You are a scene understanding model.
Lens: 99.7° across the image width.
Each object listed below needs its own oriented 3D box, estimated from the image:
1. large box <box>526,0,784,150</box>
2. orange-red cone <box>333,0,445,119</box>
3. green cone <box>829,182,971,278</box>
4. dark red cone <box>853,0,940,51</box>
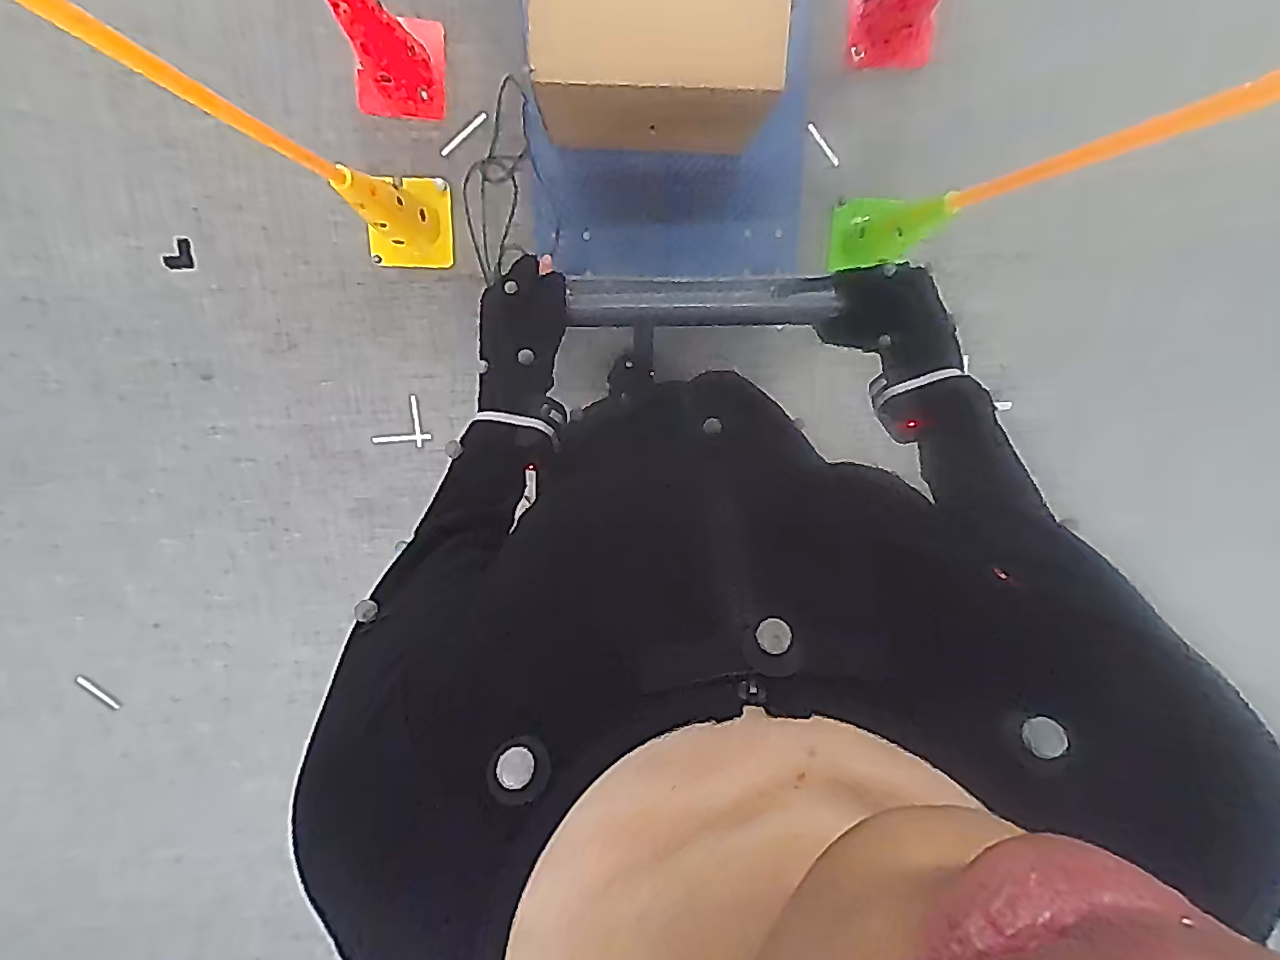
[{"bbox_3d":[0.022,-0.807,0.964,0.408,0.320,0.320,0,104,-1],"label":"large box"},{"bbox_3d":[-0.538,-0.909,1.069,0.198,0.360,0.199,4,102,-4],"label":"orange-red cone"},{"bbox_3d":[0.586,-0.573,1.183,0.202,0.368,0.200,1,103,-3],"label":"green cone"},{"bbox_3d":[0.588,-1.041,1.055,0.201,0.394,0.202,-3,104,-3],"label":"dark red cone"}]
